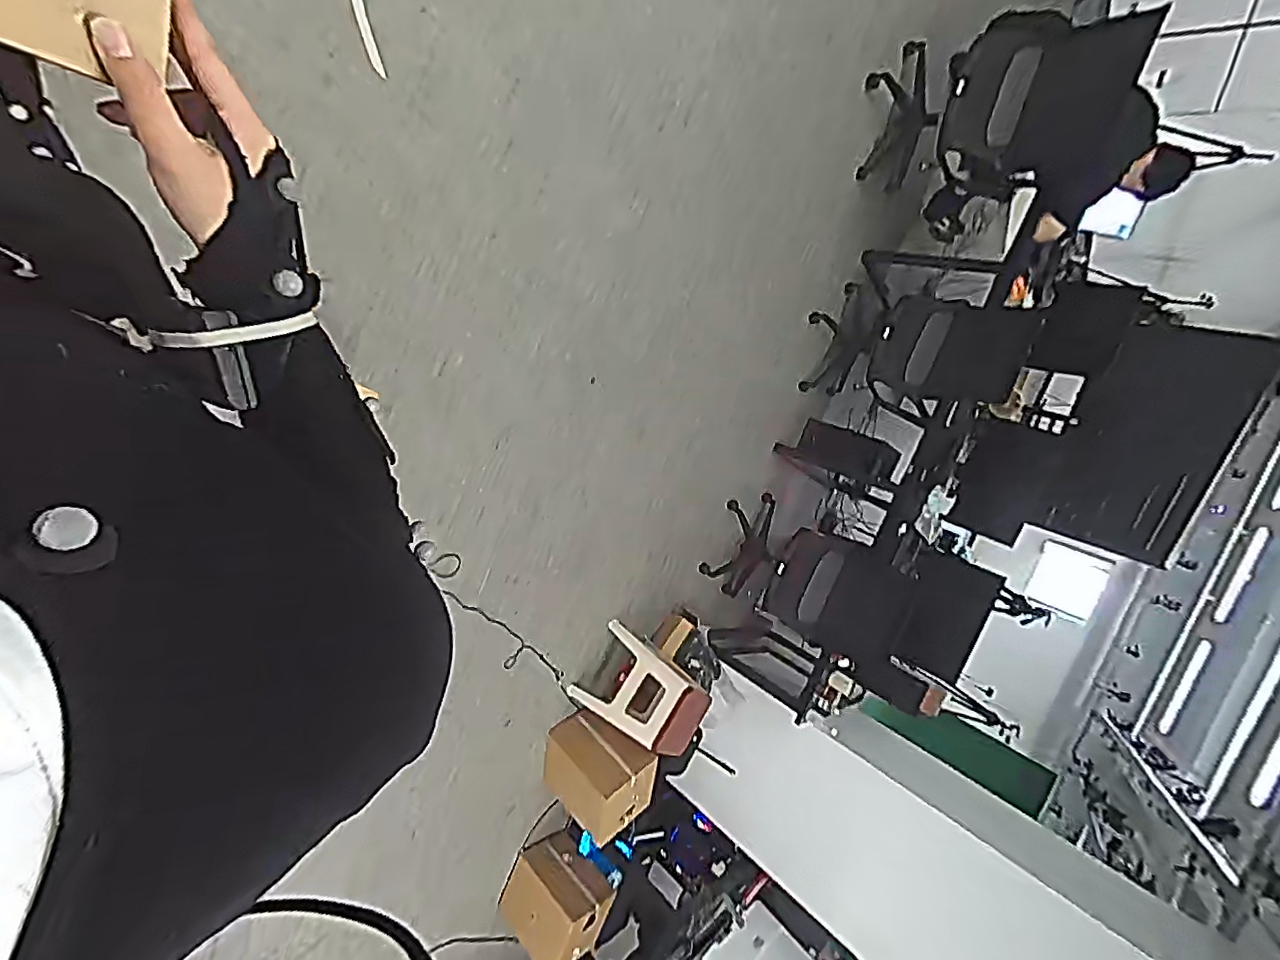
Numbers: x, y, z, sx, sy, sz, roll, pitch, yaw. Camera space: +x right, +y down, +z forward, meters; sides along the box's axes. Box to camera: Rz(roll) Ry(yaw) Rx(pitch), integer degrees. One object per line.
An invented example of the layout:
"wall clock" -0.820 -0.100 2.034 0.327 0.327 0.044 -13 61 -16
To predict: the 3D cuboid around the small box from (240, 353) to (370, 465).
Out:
"small box" -0.730 -0.156 1.173 0.168 0.176 0.179 22 92 -52
